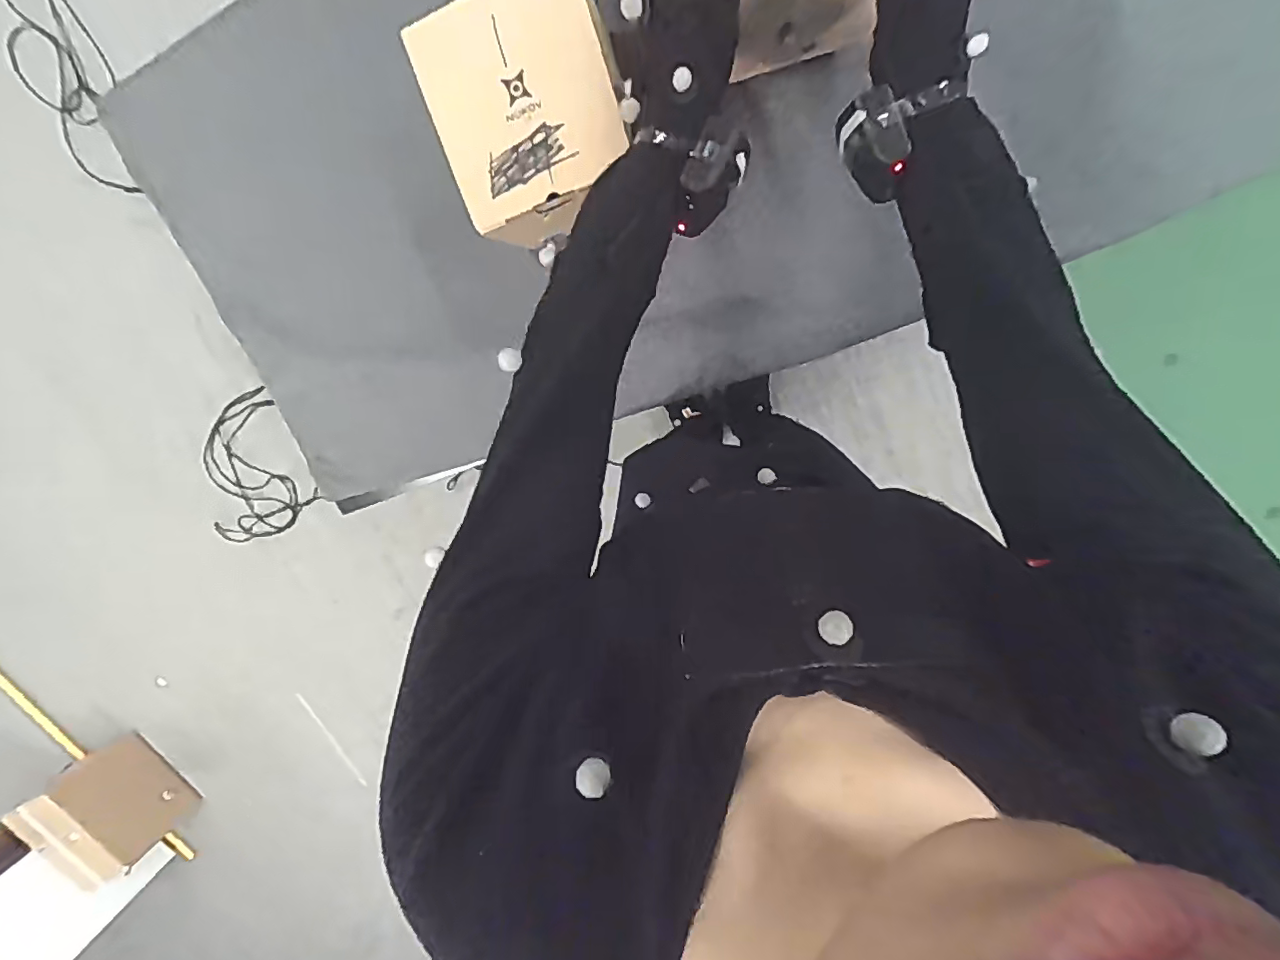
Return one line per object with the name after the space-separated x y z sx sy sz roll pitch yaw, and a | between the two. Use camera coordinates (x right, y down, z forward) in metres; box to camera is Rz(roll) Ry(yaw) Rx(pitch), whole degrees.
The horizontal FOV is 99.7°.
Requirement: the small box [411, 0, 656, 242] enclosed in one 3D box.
-0.091 -0.361 0.559 0.168 0.176 0.179 -16 104 14 | small box
